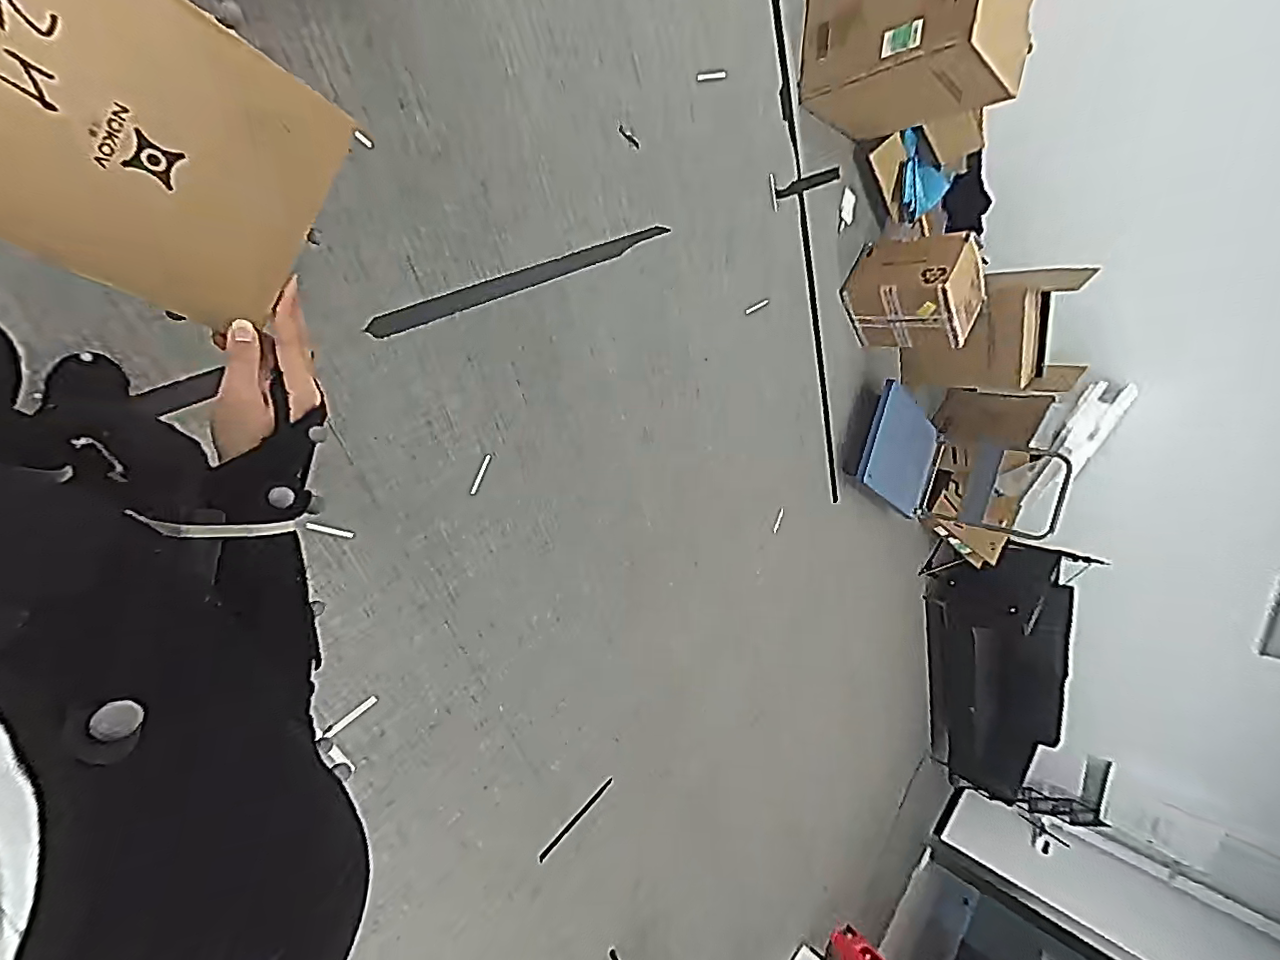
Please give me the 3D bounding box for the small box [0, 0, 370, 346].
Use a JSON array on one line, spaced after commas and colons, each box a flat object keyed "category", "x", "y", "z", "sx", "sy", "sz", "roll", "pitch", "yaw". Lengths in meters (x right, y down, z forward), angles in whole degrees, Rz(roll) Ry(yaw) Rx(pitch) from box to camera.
[{"category": "small box", "x": -0.313, "y": -0.224, "z": 0.364, "sx": 0.179, "sy": 0.176, "sz": 0.168, "roll": 25, "pitch": 104, "yaw": -40}]
